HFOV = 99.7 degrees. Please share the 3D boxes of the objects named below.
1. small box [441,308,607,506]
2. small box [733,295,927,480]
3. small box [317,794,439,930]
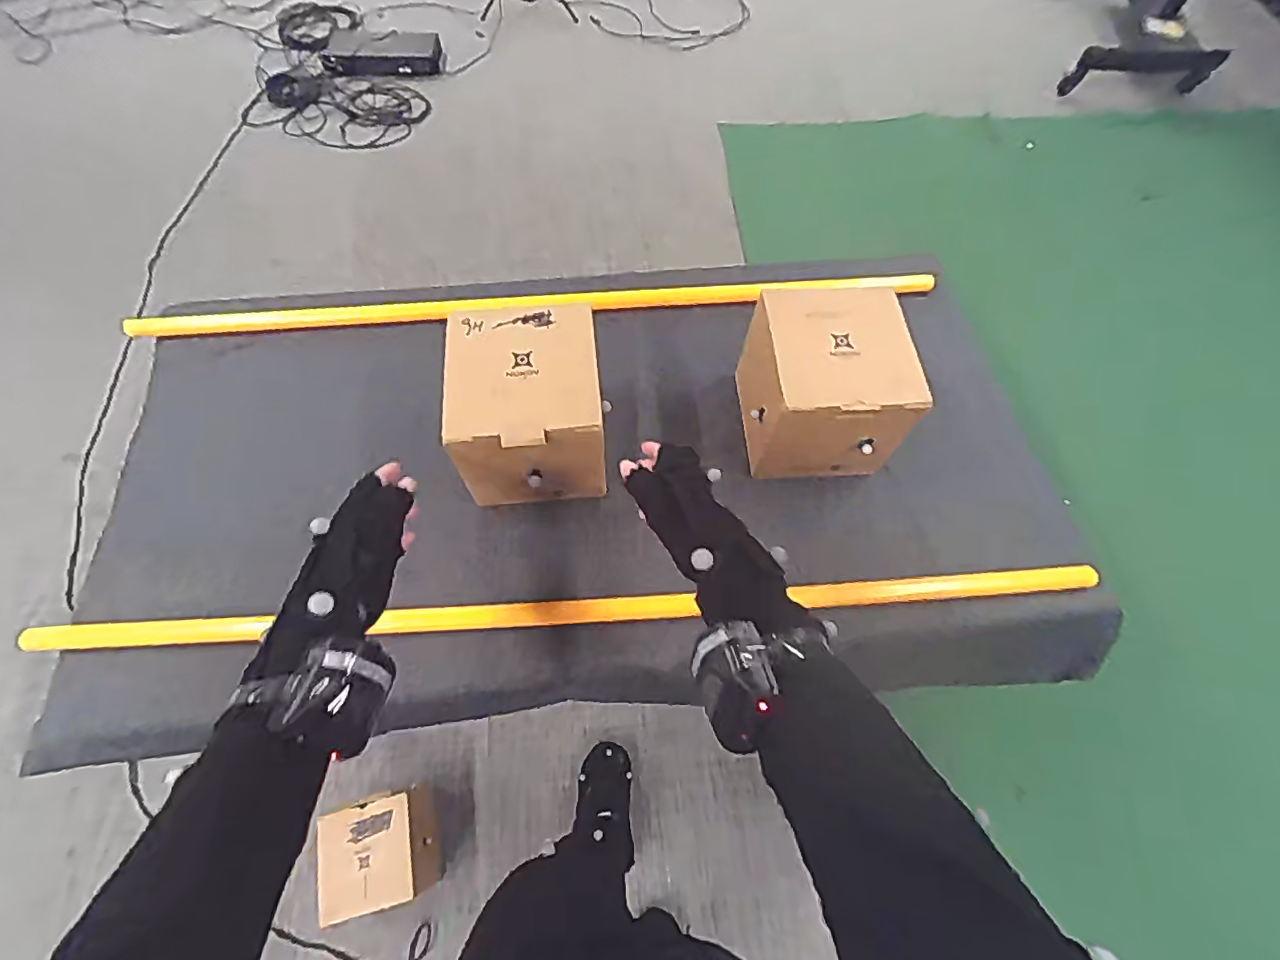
[{"bbox_3d":[-0.135,-0.079,0.663,0.168,0.176,0.179,-8,63,-5],"label":"small box"},{"bbox_3d":[0.224,-0.108,0.690,0.168,0.176,0.179,-4,62,-4],"label":"small box"},{"bbox_3d":[-0.503,0.729,1.056,0.168,0.176,0.179,-12,65,-7],"label":"small box"}]
